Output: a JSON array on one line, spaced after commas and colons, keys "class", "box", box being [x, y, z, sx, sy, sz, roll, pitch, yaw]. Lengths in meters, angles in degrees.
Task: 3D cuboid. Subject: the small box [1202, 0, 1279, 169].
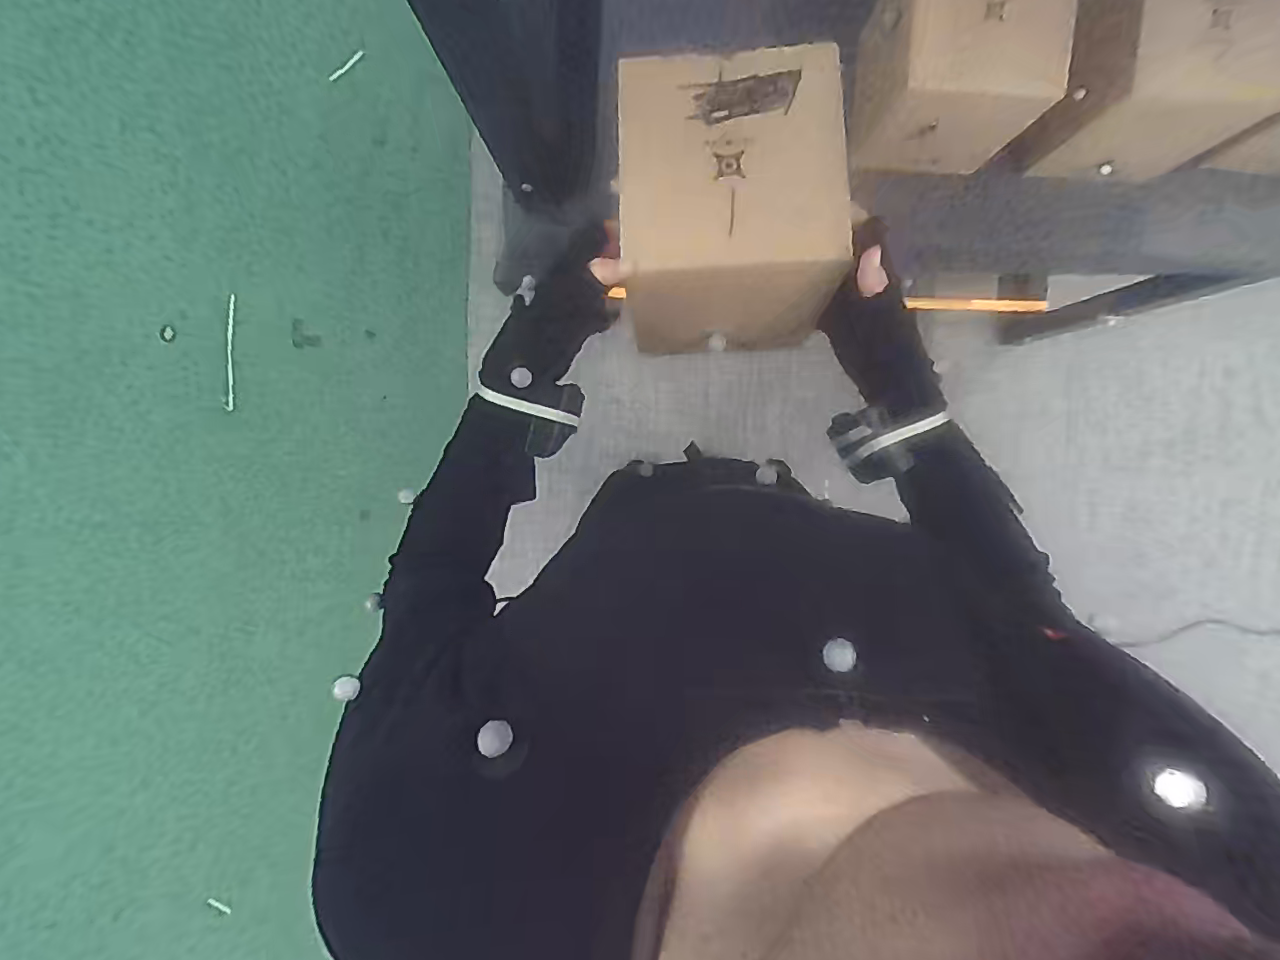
[{"class": "small box", "box": [0.815, -0.483, 0.621, 0.168, 0.176, 0.179, 6, 93, 1]}]

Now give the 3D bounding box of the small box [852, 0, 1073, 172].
[{"class": "small box", "box": [0.363, -0.490, 0.635, 0.168, 0.176, 0.179, 4, 93, 2]}]
